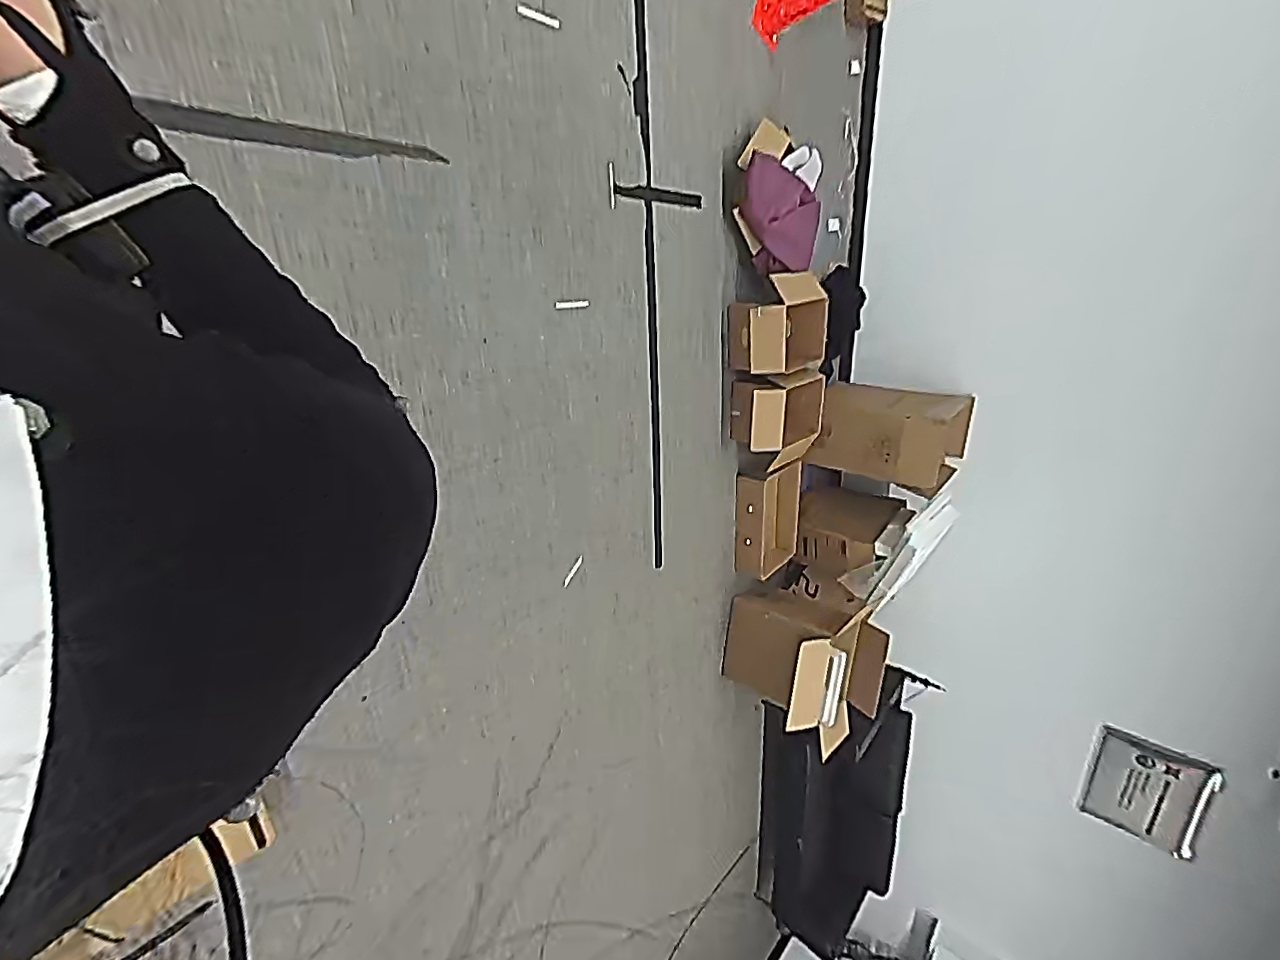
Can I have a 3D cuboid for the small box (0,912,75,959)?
[{"bbox_3d":[-1.185,0.957,0.997,0.168,0.176,0.179,-25,120,-42],"label":"small box"}]
